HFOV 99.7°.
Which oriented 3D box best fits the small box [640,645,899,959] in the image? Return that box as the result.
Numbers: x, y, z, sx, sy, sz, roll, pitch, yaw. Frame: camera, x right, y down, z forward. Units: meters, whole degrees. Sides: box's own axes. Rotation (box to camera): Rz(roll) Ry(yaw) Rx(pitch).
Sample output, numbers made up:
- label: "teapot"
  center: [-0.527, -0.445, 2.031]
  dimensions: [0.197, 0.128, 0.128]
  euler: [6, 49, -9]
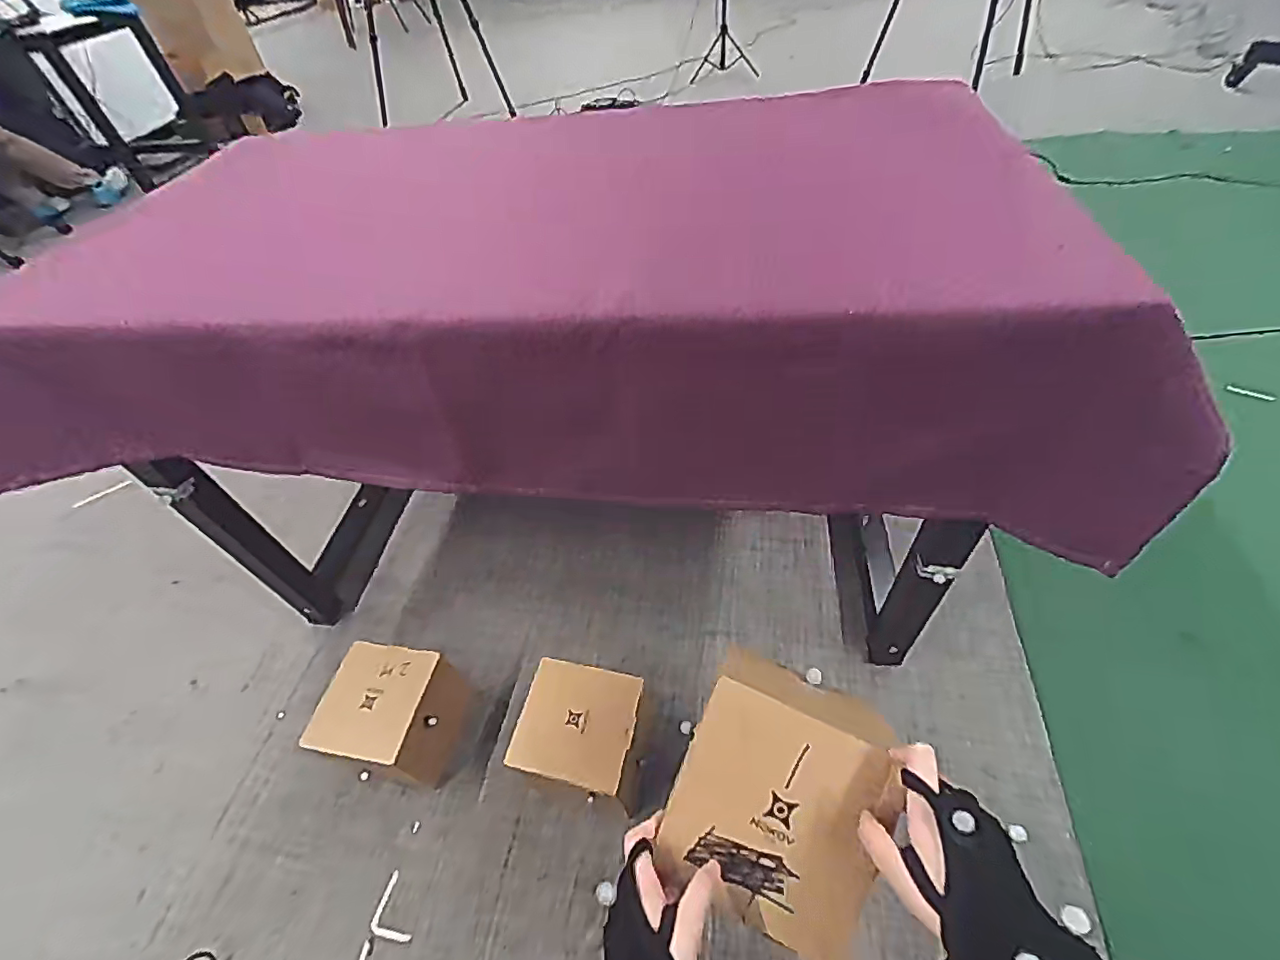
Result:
- label: "small box"
  center: [0.122, 0.284, 0.523]
  dimensions: [0.168, 0.176, 0.179]
  euler: [21, 88, 14]
